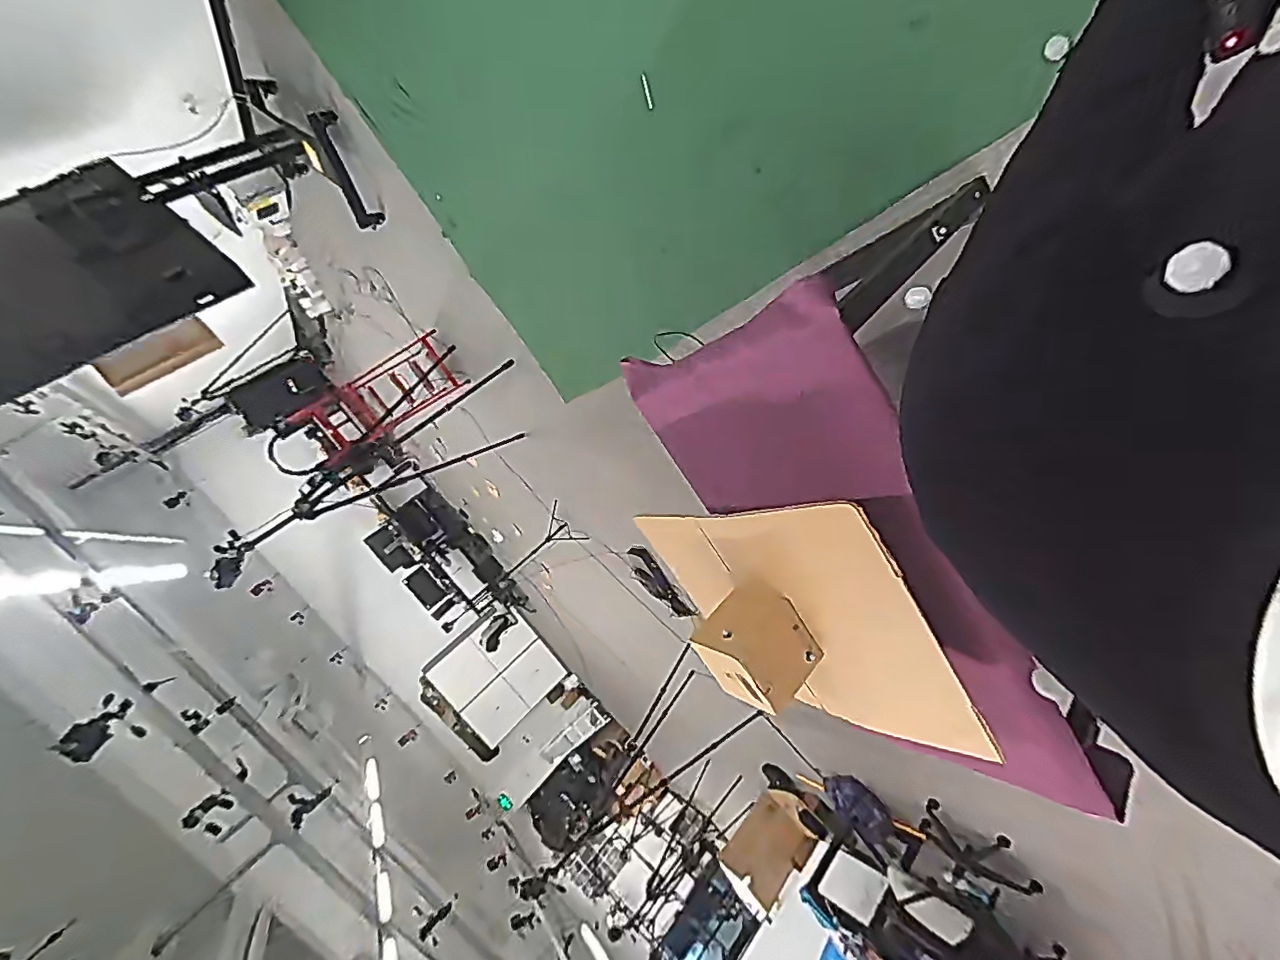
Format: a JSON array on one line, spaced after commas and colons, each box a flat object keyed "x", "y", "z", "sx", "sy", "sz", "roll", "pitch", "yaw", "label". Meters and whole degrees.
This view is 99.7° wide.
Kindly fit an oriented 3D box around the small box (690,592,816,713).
[{"x": 0.248, "y": 0.357, "z": 1.154, "sx": 0.168, "sy": 0.176, "sz": 0.179, "roll": 54, "pitch": 153, "yaw": -13, "label": "small box"}]
